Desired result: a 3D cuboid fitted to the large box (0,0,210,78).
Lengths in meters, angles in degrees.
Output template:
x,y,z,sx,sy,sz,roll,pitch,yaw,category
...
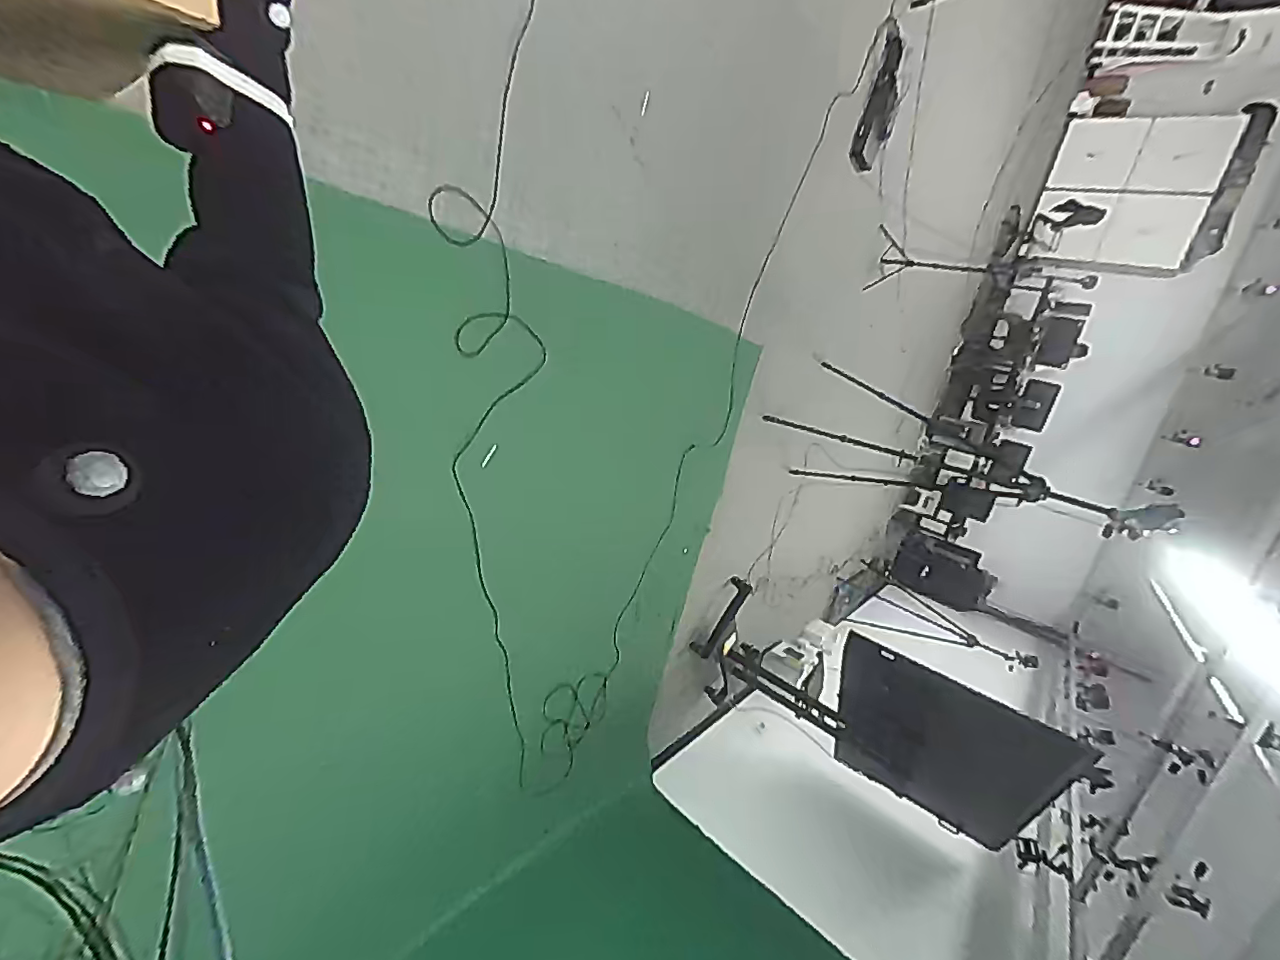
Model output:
x,y,z,sx,sy,sz,roll,pitch,yaw,category
-0.547,-0.481,0.286,0.408,0.320,0.320,-20,118,-52,large box
